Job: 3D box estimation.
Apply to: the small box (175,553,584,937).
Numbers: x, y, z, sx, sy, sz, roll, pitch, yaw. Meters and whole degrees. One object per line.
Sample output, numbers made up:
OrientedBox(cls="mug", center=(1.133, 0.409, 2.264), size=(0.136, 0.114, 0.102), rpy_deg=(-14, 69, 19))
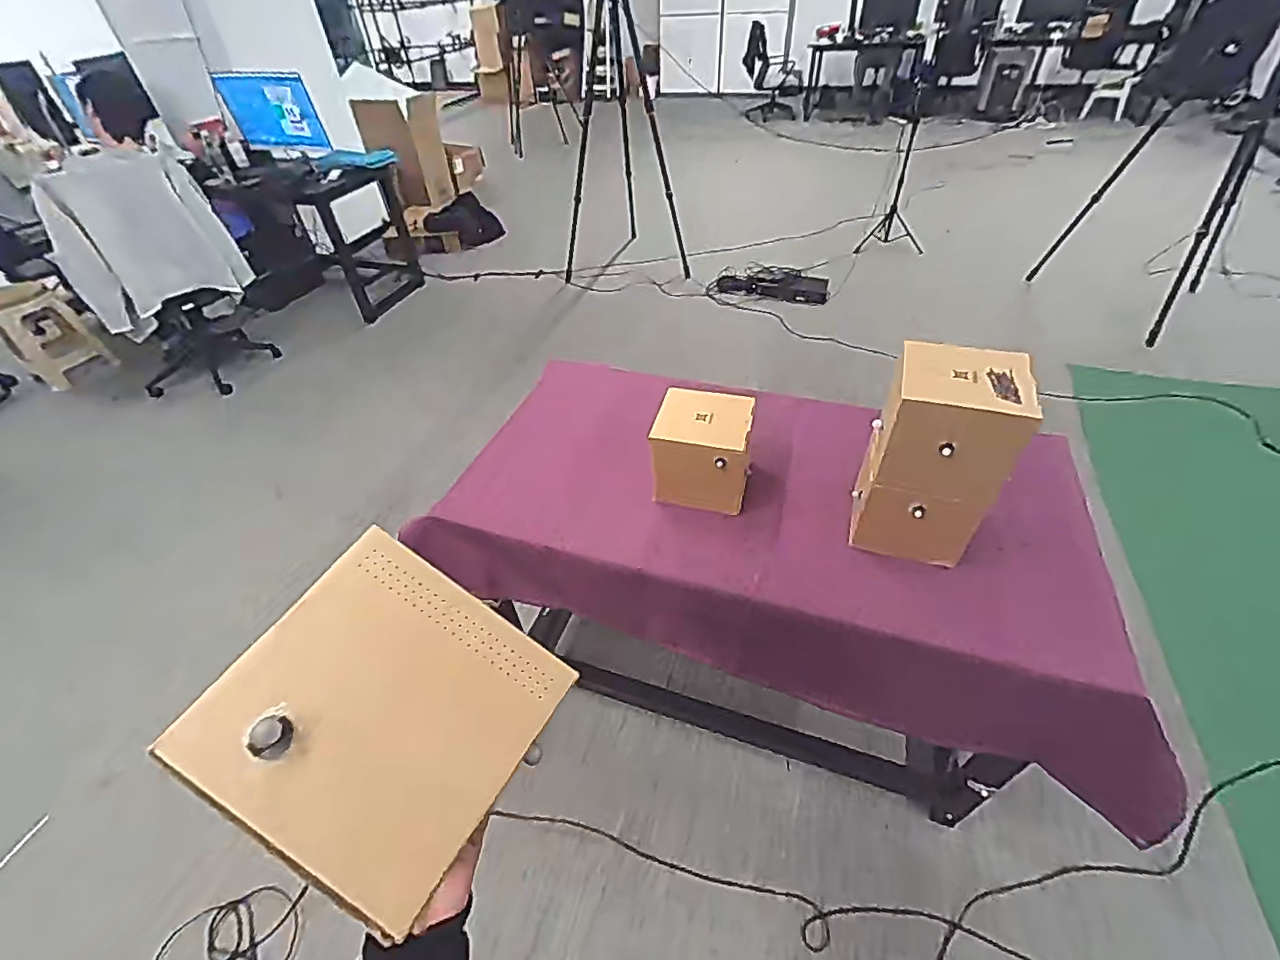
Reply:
OrientedBox(cls="small box", center=(-0.169, 0.173, 0.406), size=(0.179, 0.168, 0.176), rpy_deg=(36, 63, 2))

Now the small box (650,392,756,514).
OrientedBox(cls="small box", center=(0.125, -0.052, 1.067), size=(0.179, 0.176, 0.168), rpy_deg=(9, 45, 13))

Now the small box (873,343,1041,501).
OrientedBox(cls="small box", center=(0.476, -0.088, 0.835), size=(0.179, 0.176, 0.168), rpy_deg=(11, 46, 17))

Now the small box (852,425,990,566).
OrientedBox(cls="small box", center=(0.482, 0.029, 0.950), size=(0.179, 0.176, 0.168), rpy_deg=(12, 46, 16))
